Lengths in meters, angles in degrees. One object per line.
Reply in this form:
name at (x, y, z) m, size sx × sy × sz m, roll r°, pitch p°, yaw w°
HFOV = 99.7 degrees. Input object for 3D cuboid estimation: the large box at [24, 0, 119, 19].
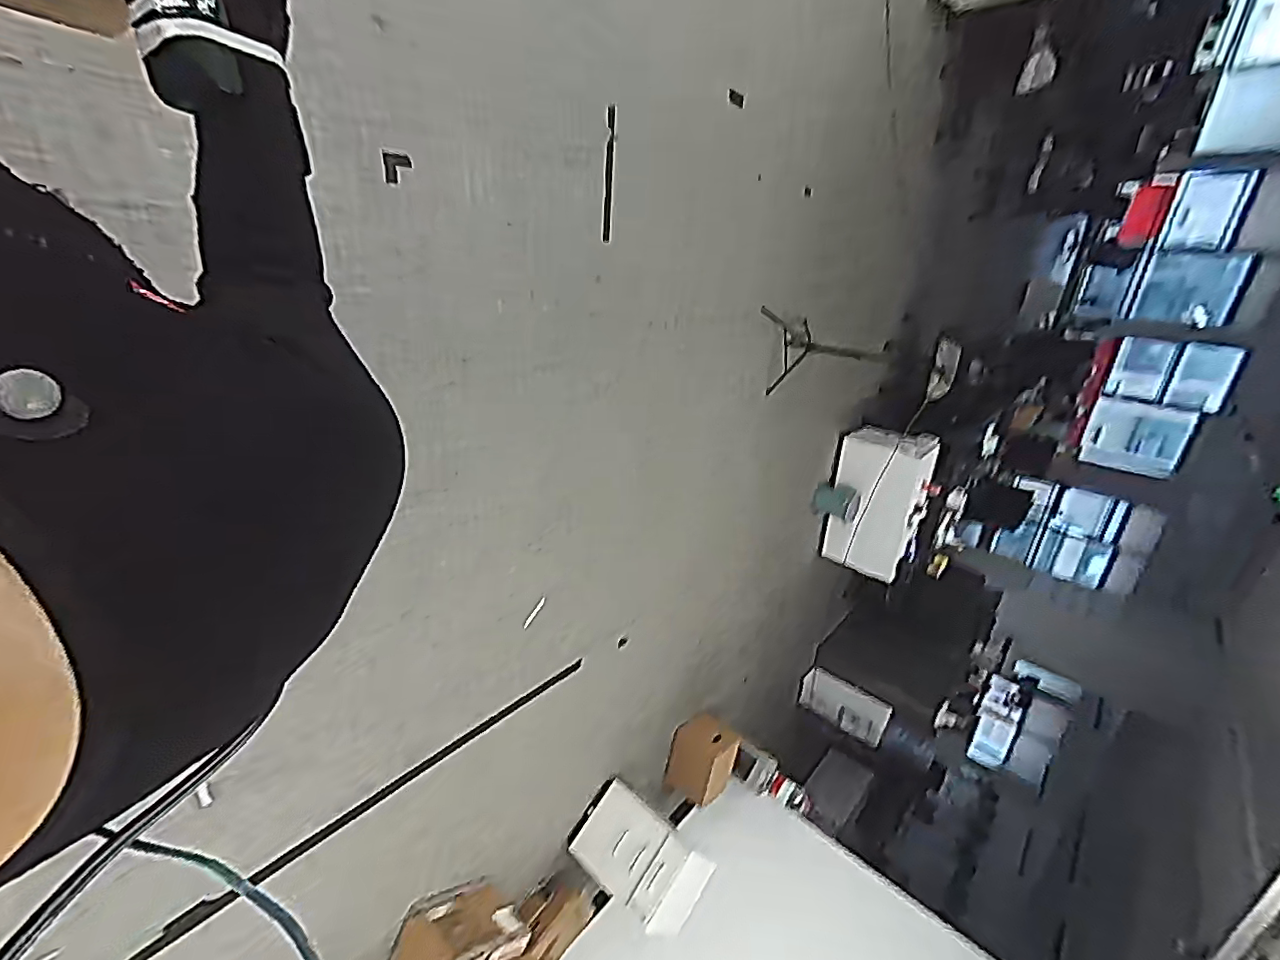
large box at (-0.535, -0.499, 0.251) m, size 0.408 × 0.320 × 0.320 m, roll -18°, pitch 125°, yaw -47°
